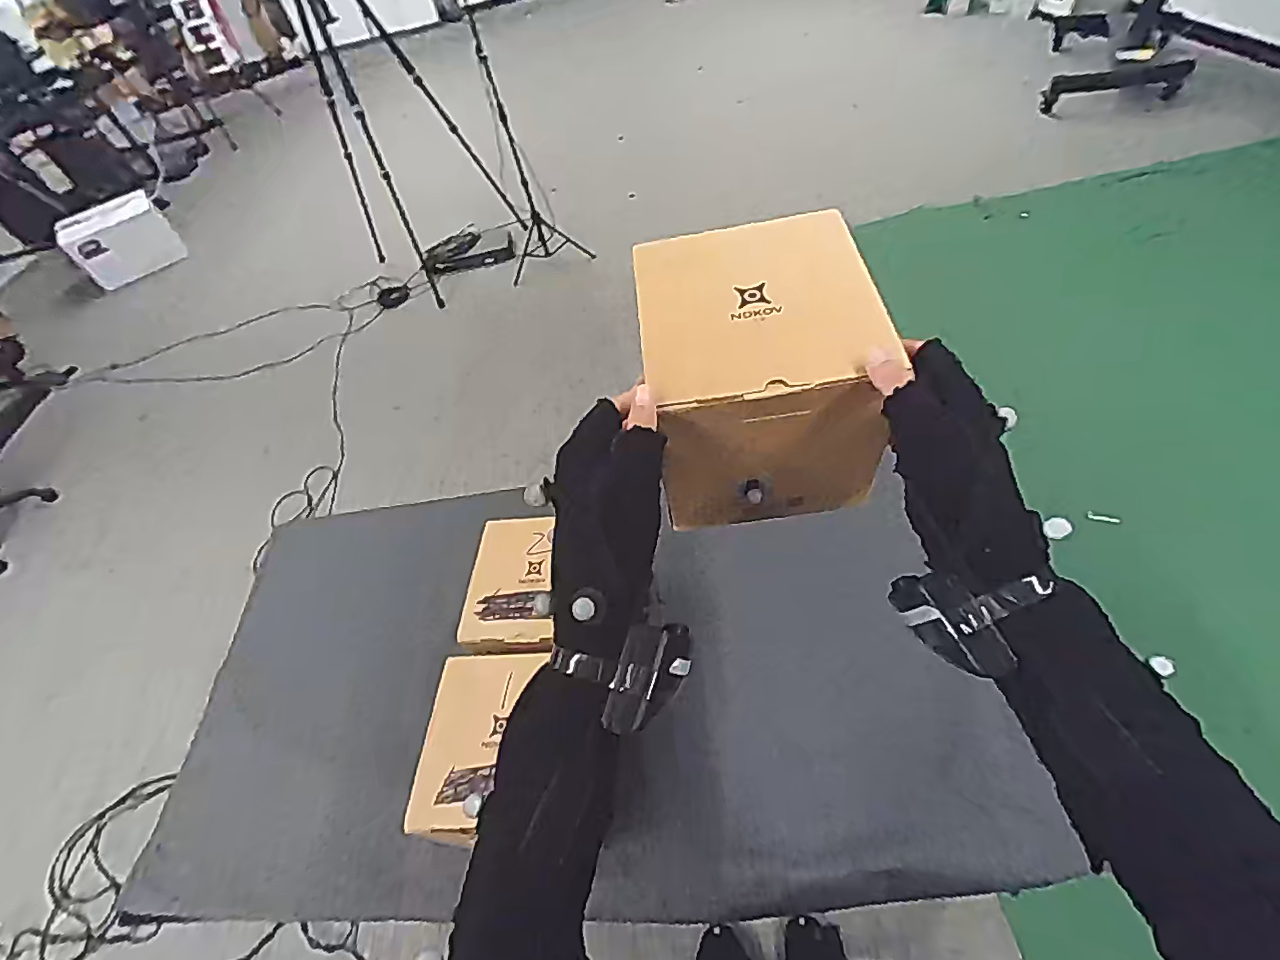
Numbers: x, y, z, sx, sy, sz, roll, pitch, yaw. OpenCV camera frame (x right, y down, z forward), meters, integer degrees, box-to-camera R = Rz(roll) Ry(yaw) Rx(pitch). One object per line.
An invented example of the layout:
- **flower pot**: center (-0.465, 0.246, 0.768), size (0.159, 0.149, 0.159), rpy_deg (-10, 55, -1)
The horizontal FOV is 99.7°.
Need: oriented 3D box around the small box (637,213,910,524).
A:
- **small box**: center (0.093, -0.085, 0.451), size (0.168, 0.176, 0.179), rpy_deg (-8, 57, 6)
